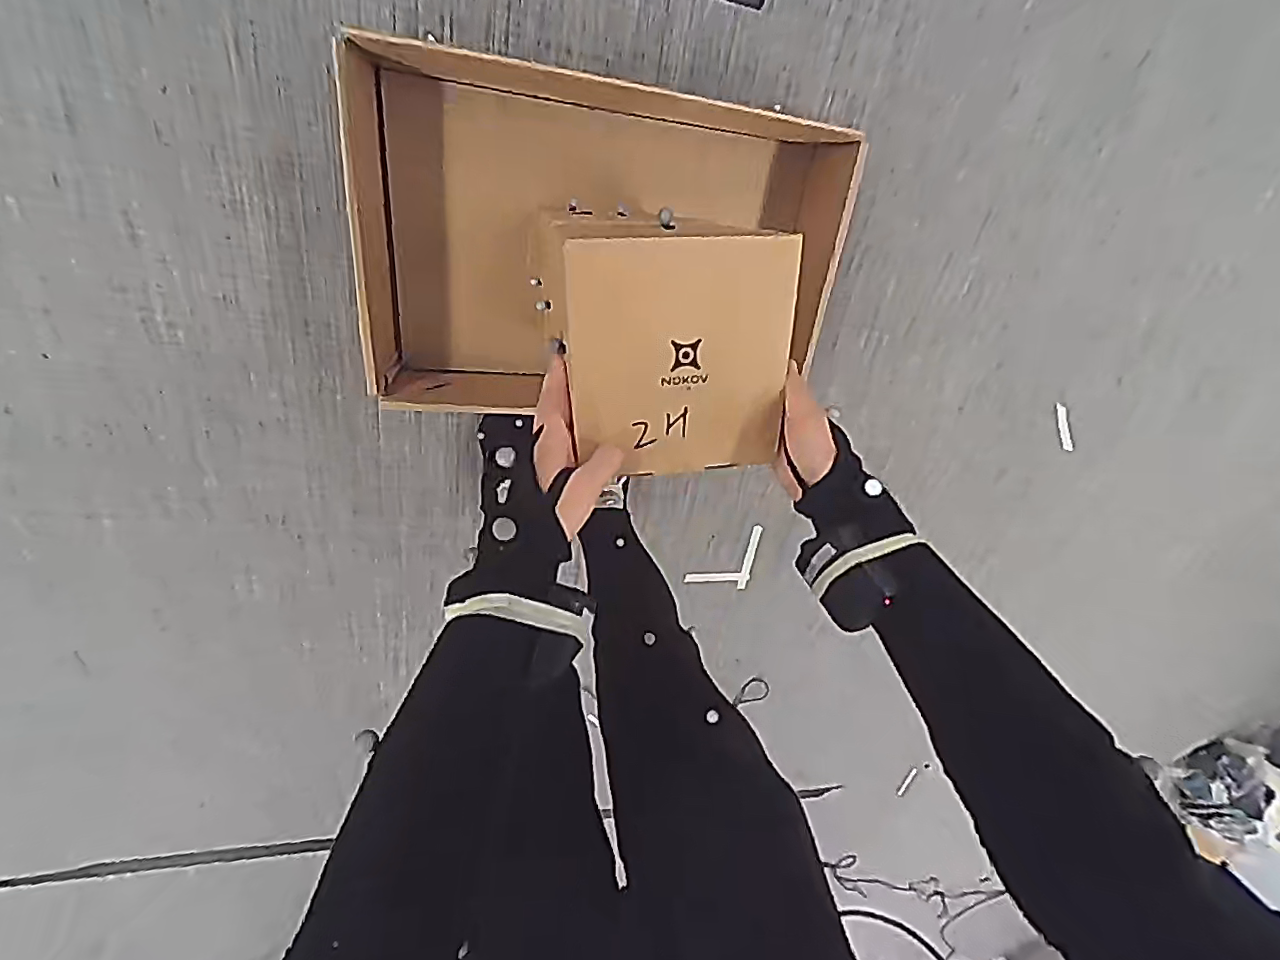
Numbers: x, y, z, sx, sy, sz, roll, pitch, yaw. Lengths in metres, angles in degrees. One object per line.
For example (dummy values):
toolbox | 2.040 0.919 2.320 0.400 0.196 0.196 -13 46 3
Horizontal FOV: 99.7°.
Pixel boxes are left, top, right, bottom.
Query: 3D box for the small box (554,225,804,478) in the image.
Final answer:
small box | 0.017 -0.121 0.466 0.168 0.176 0.179 -5 119 -11

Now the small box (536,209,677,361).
small box | -0.055 -0.274 0.749 0.168 0.176 0.179 -4 120 -12
